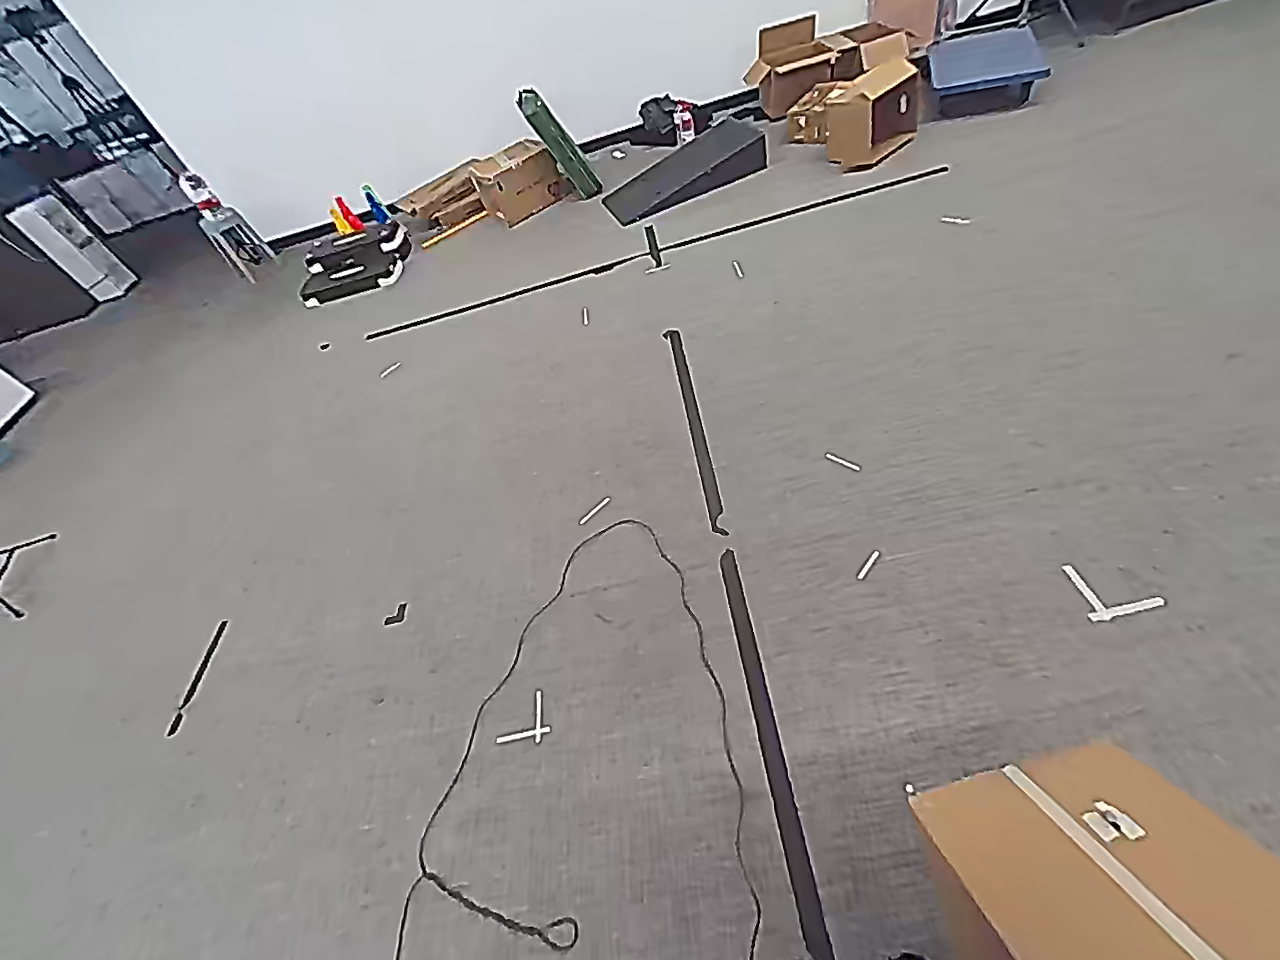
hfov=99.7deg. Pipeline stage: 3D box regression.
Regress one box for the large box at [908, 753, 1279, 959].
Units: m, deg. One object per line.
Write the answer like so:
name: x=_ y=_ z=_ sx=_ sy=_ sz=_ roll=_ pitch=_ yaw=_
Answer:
large box: x=0.597 y=0.613 z=0.633 sx=0.320 sy=0.320 sz=0.408 roll=-16 pitch=4 yaw=2
